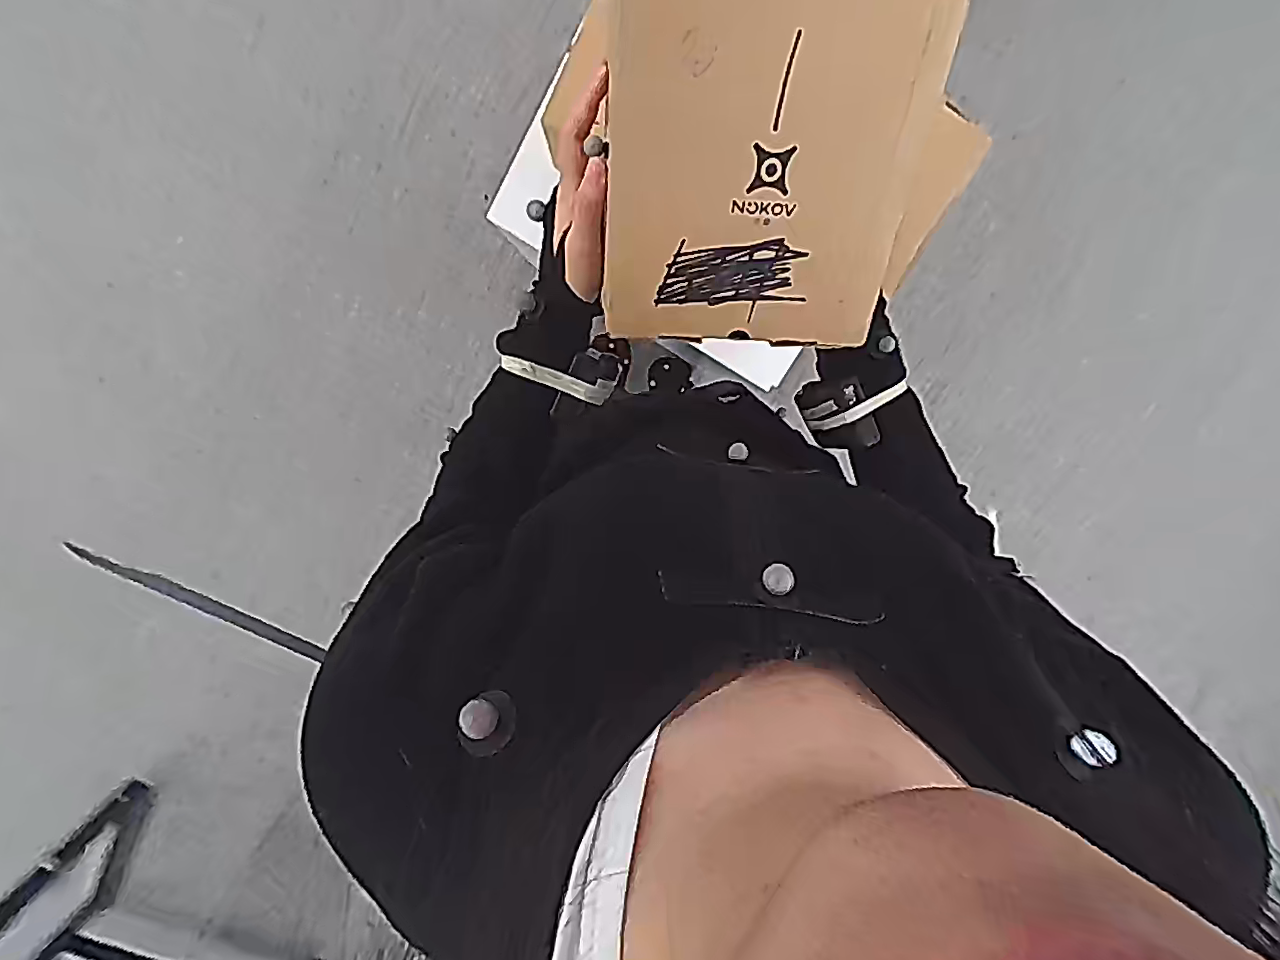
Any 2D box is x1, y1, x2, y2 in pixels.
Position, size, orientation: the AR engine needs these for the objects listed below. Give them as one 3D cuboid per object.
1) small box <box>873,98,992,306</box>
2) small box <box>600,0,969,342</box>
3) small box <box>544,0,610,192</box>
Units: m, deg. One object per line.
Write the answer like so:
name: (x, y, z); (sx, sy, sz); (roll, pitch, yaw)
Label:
small box: (0.214, -0.303, 0.584); (0.168, 0.176, 0.179); (30, 100, -8)
small box: (0.060, -0.206, 0.353); (0.168, 0.176, 0.179); (0, 125, -7)
small box: (-0.007, -0.474, 0.698); (0.168, 0.176, 0.179); (27, 101, -9)
